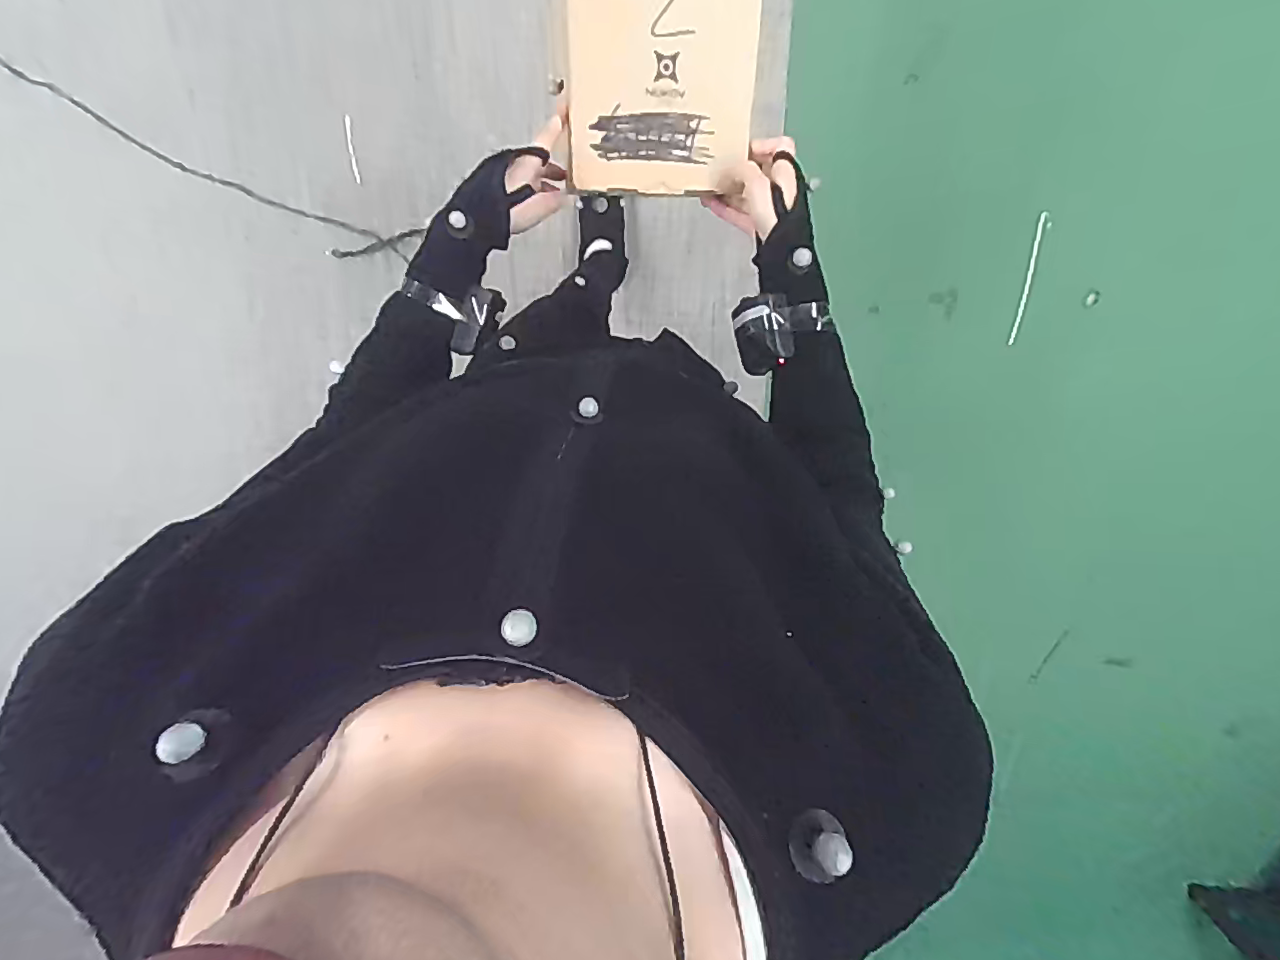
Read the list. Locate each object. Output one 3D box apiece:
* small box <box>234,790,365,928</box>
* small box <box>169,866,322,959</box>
[{"bbox_3d":[-0.692,0.778,1.121,0.168,0.176,0.179,6,110,-3],"label":"small box"},{"bbox_3d":[-0.695,0.832,0.966,0.168,0.176,0.179,9,111,-3],"label":"small box"}]
